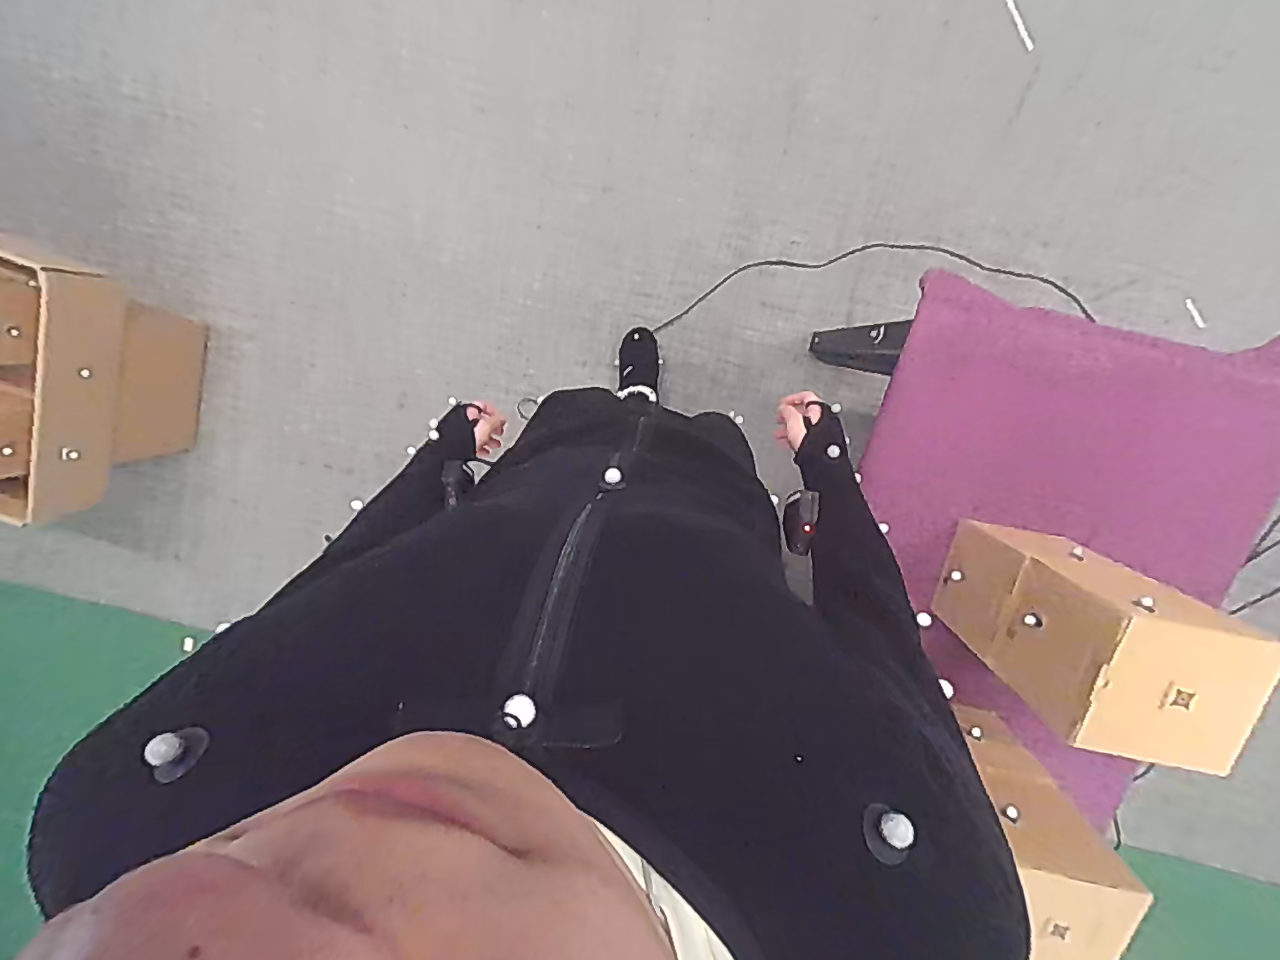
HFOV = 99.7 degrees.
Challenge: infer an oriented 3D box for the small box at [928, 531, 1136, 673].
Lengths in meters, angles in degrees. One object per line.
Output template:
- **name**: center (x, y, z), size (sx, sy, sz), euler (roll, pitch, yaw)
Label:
- **small box**: center (0.576, 0.188, 0.812), size (0.179, 0.176, 0.168), euler (12, 103, 0)

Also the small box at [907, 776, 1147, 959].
- **small box**: center (0.497, 0.537, 0.730), size (0.179, 0.176, 0.168), euler (13, 104, -1)

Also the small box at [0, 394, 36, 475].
- **small box**: center (-1.573, -0.106, 1.255), size (0.168, 0.176, 0.179), euler (17, 104, -1)

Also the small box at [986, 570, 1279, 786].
- **small box**: center (0.571, 0.225, 0.653), size (0.179, 0.176, 0.168), euler (11, 104, 1)
